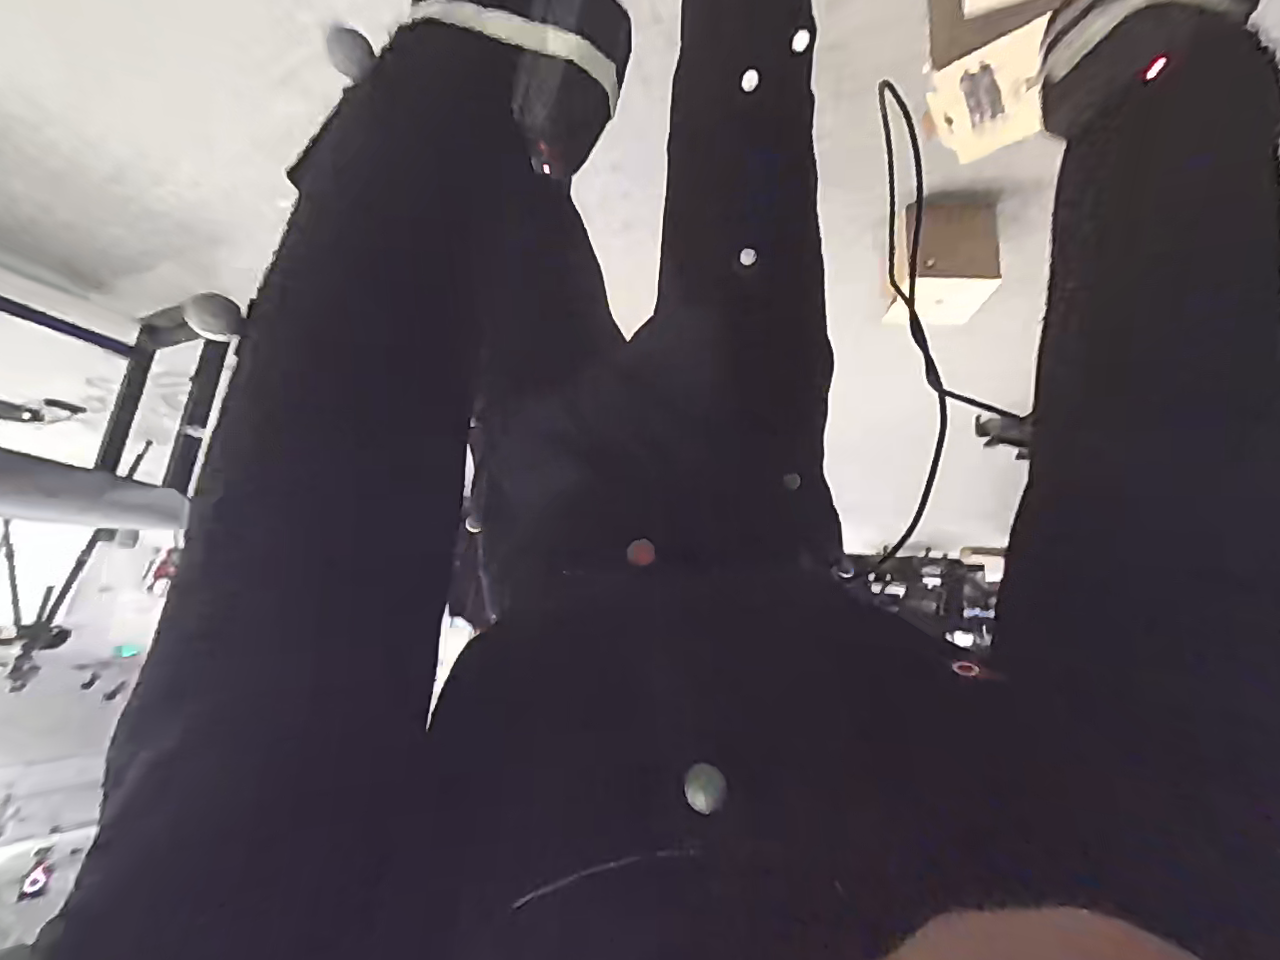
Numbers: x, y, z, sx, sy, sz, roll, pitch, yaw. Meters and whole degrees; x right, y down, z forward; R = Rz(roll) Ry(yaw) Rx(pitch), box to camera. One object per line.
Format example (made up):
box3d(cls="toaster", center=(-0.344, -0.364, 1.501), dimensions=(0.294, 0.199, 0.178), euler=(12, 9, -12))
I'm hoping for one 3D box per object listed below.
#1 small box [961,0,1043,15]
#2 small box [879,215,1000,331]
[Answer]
box3d(cls="small box", center=(0.317, -0.472, 0.367), dimensions=(0.168, 0.179, 0.176), euler=(2, -174, 28))
box3d(cls="small box", center=(0.614, -0.428, 1.126), dimensions=(0.179, 0.176, 0.168), euler=(4, 166, 8))
